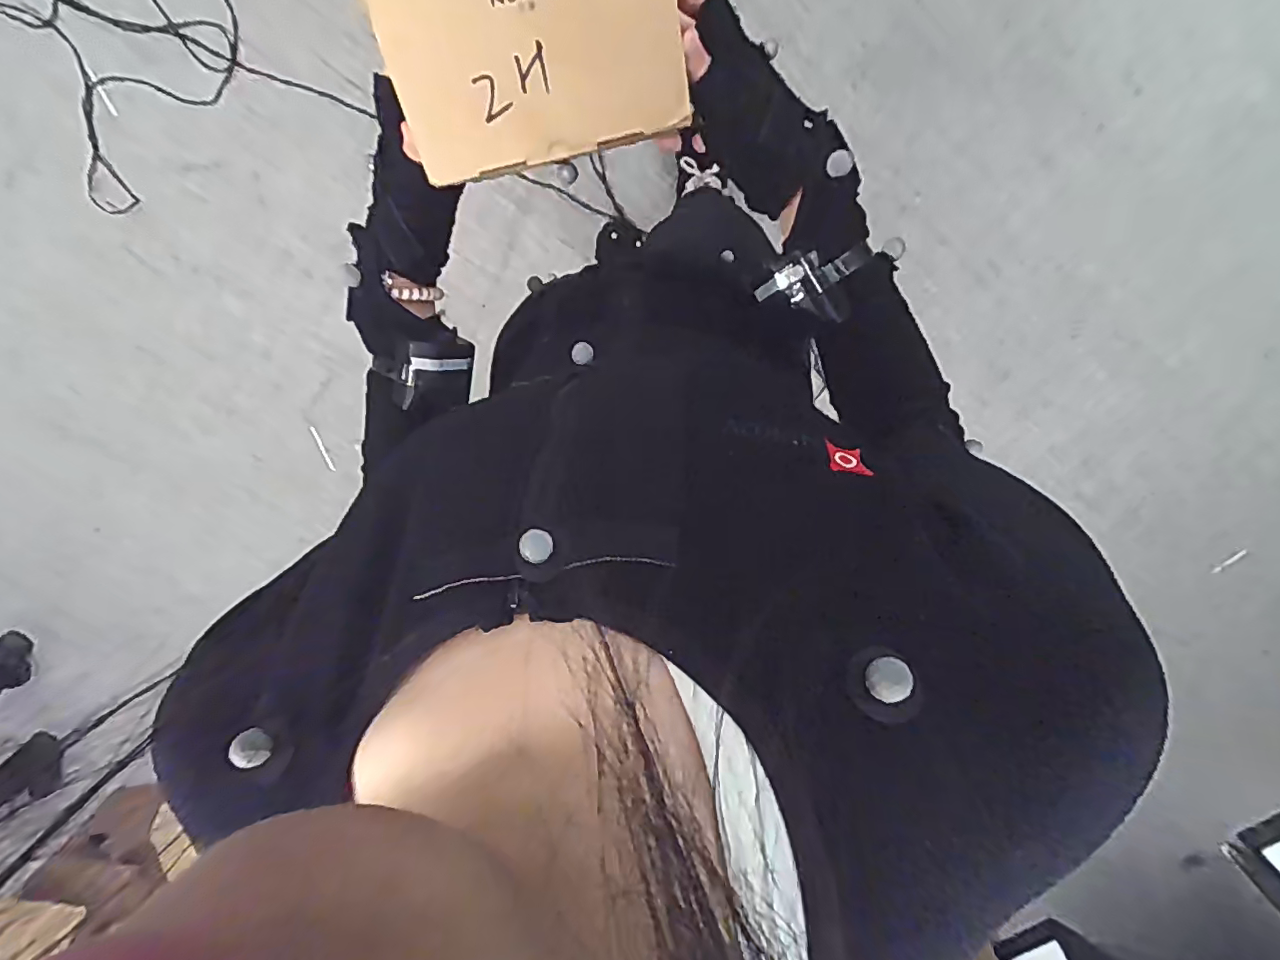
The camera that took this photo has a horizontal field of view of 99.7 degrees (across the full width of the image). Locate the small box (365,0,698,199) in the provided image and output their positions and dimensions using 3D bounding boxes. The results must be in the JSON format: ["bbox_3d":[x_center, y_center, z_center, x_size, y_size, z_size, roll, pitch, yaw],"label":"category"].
[{"bbox_3d":[-0.069,-0.297,0.350,0.168,0.176,0.179,-13,121,2],"label":"small box"}]

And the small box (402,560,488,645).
[{"bbox_3d":[-0.609,0.378,1.703,0.179,0.176,0.168,31,114,-15],"label":"small box"}]
